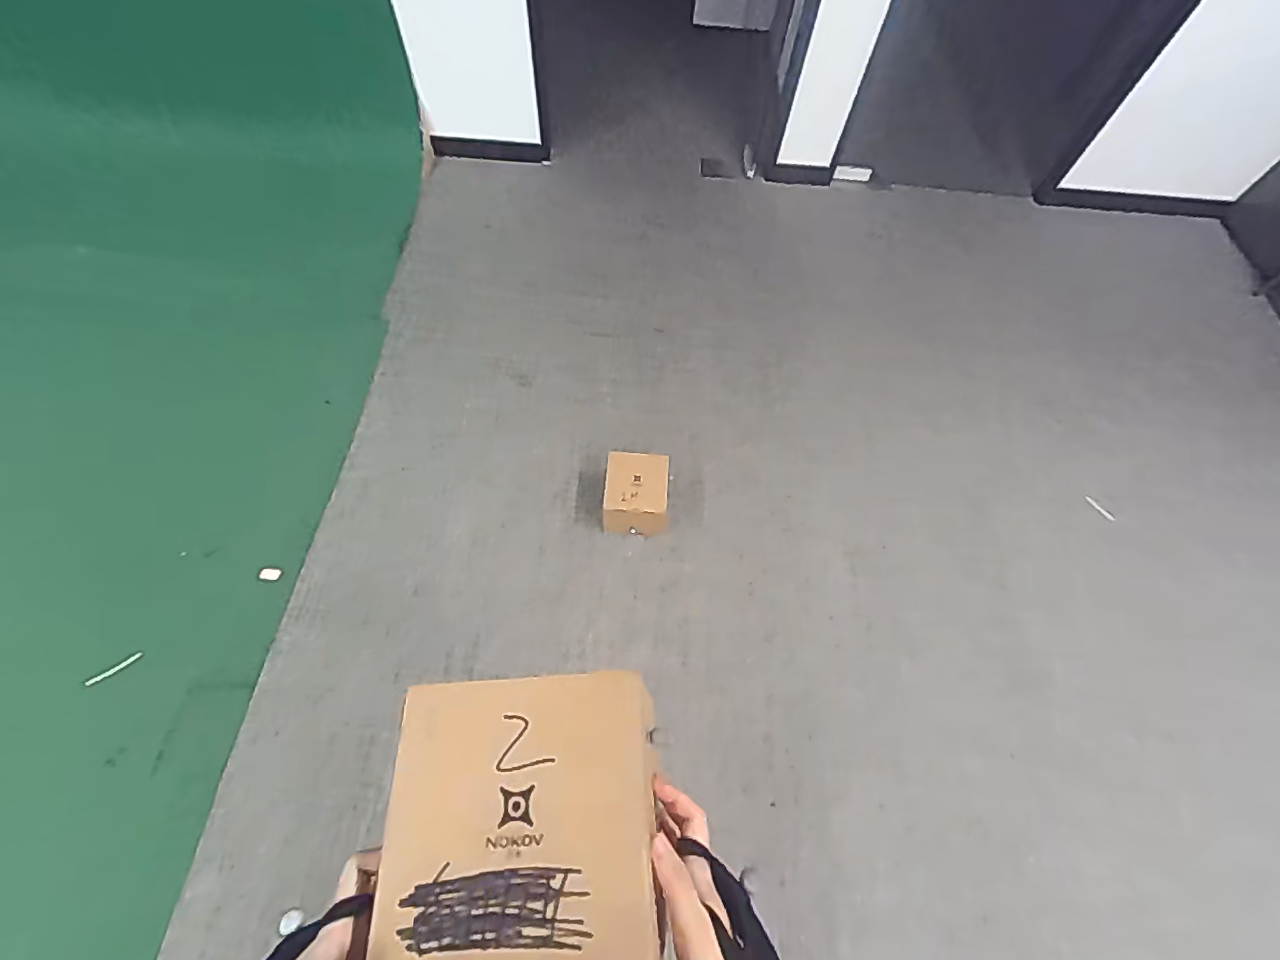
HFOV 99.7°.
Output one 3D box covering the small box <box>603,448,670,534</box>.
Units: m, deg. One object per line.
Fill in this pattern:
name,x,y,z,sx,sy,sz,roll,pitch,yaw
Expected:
small box,-0.012,0.033,1.485,0.168,0.176,0.179,5,63,0
